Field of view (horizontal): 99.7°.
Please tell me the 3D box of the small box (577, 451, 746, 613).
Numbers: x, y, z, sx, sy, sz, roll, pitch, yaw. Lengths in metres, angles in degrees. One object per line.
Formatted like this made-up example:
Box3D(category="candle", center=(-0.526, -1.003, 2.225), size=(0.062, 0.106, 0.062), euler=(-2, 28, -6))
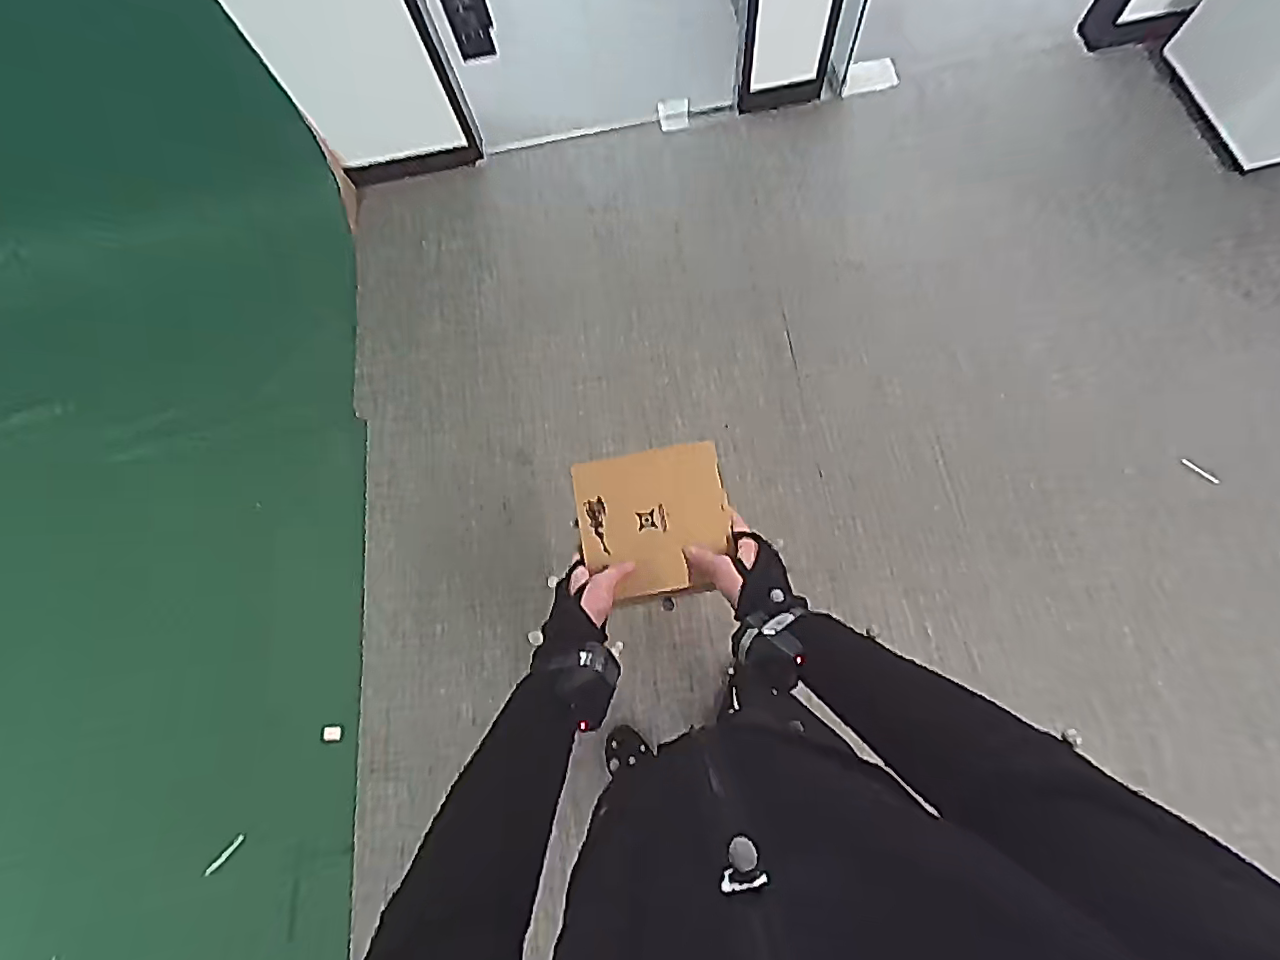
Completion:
Box3D(category="small box", center=(0.023, 0.075, 0.698), size=(0.179, 0.176, 0.168), euler=(-9, 74, -1))
